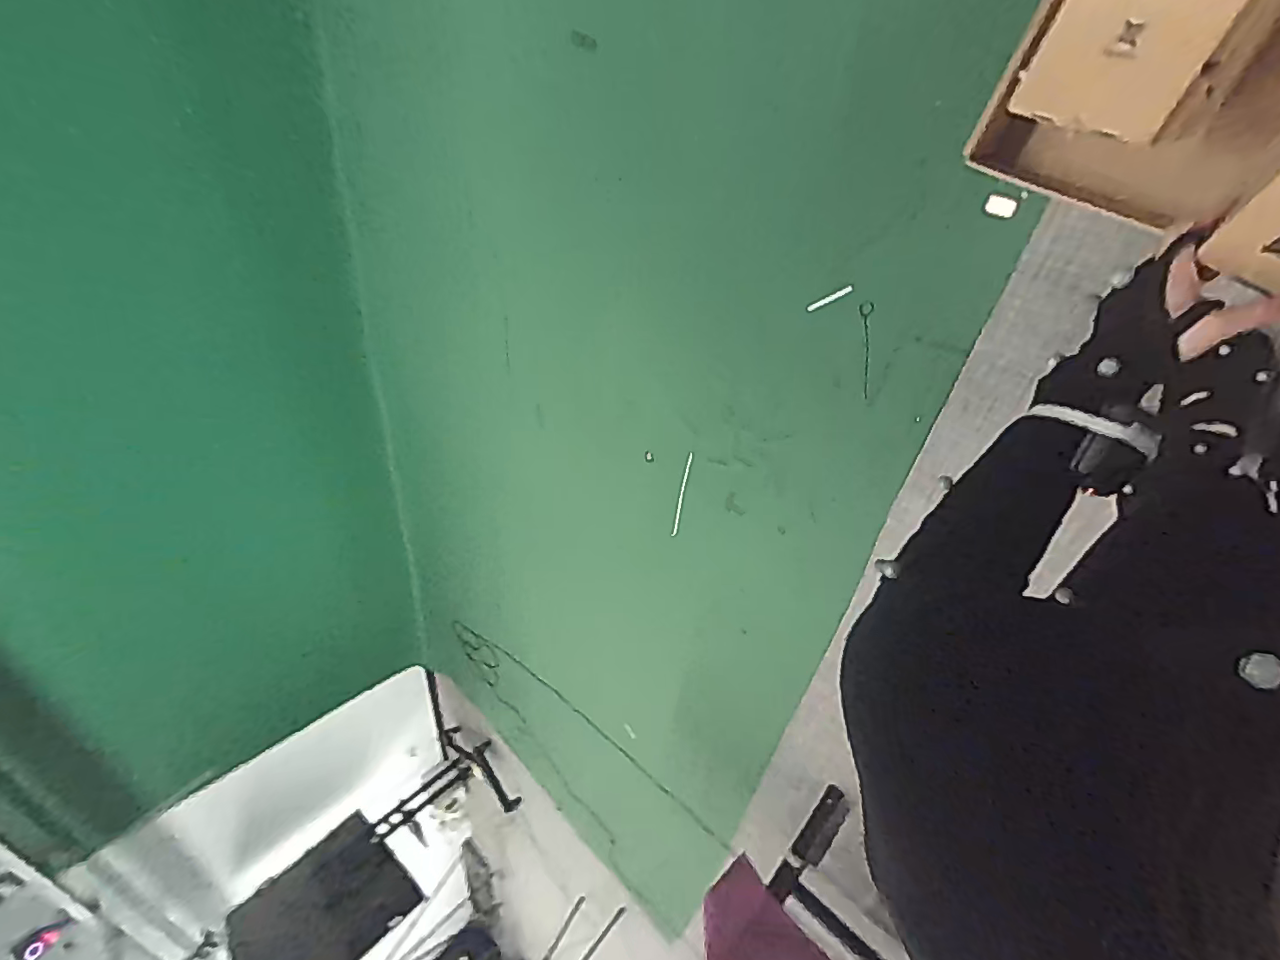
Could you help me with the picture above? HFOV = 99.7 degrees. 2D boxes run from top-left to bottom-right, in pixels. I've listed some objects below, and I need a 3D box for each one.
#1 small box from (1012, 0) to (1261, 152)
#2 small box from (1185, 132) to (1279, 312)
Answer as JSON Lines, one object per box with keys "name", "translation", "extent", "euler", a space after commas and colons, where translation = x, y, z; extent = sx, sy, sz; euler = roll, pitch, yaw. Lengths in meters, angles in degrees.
{"name": "small box", "translation": [0.614, -0.530, 0.673], "extent": [0.168, 0.176, 0.179], "euler": [38, 136, 25]}
{"name": "small box", "translation": [0.524, -0.201, 0.345], "extent": [0.168, 0.176, 0.179], "euler": [40, 147, 17]}
